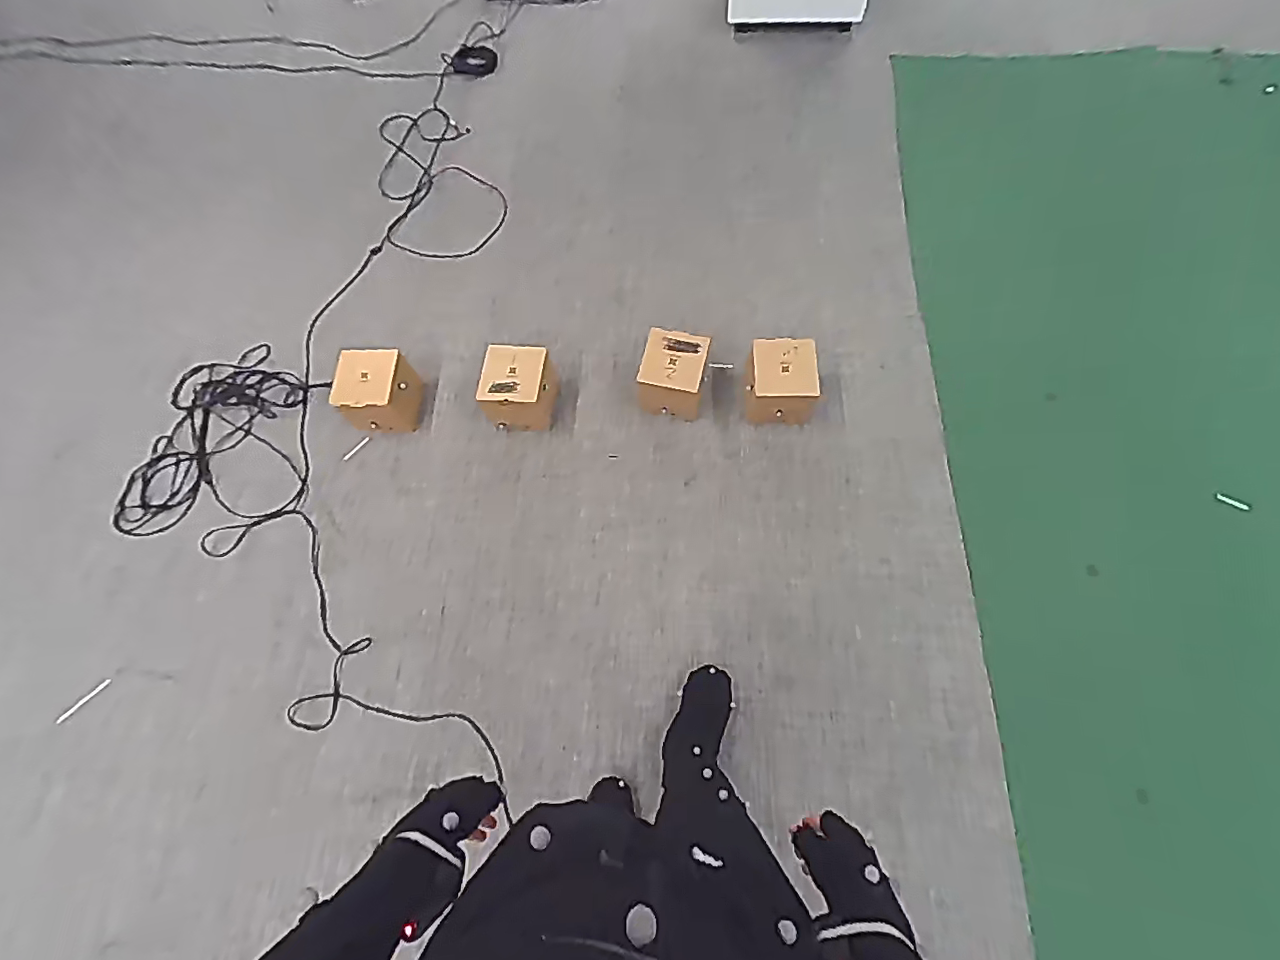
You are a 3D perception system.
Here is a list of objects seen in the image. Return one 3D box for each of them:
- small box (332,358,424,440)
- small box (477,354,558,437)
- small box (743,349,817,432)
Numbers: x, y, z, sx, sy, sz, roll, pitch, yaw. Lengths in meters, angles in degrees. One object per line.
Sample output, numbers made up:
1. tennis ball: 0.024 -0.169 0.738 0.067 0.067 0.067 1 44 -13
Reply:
1. small box: -0.740 -0.229 1.549 0.168 0.176 0.179 0 69 4
2. small box: -0.337 -0.233 1.526 0.168 0.176 0.179 4 69 5
3. small box: 0.381 -0.241 1.493 0.168 0.176 0.179 1 69 2
